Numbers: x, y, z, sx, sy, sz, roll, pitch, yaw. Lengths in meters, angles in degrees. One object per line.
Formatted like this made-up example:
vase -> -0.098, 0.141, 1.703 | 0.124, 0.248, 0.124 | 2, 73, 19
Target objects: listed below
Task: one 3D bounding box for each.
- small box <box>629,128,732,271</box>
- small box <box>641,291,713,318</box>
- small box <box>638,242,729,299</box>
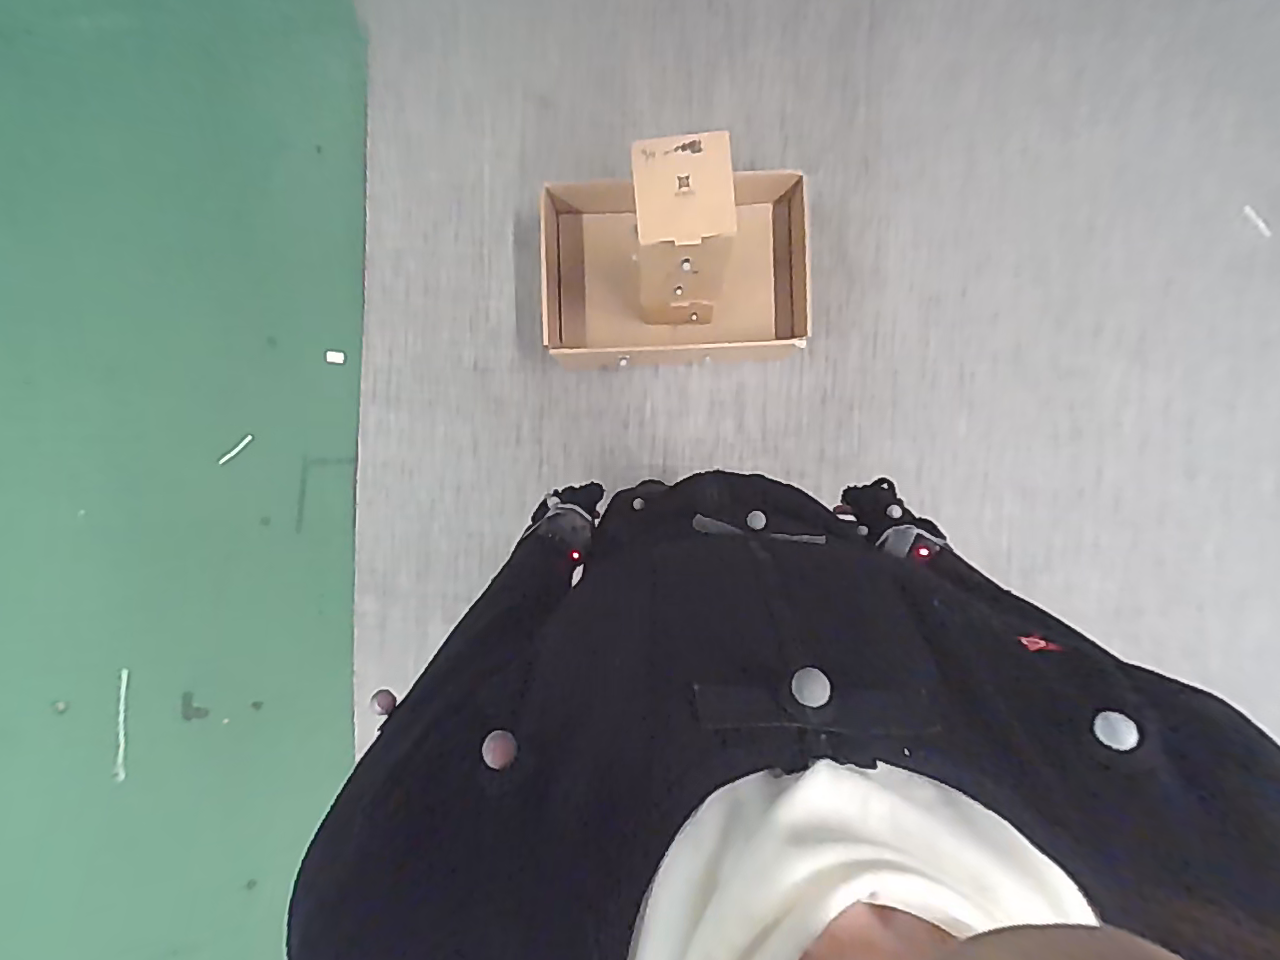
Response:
small box -> 0.072, -0.492, 0.978 | 0.168, 0.176, 0.179 | -4, 91, 3
small box -> 0.089, -0.498, 1.305 | 0.168, 0.176, 0.179 | 0, 90, 2
small box -> 0.084, -0.493, 1.141 | 0.179, 0.176, 0.168 | -5, 91, 1
